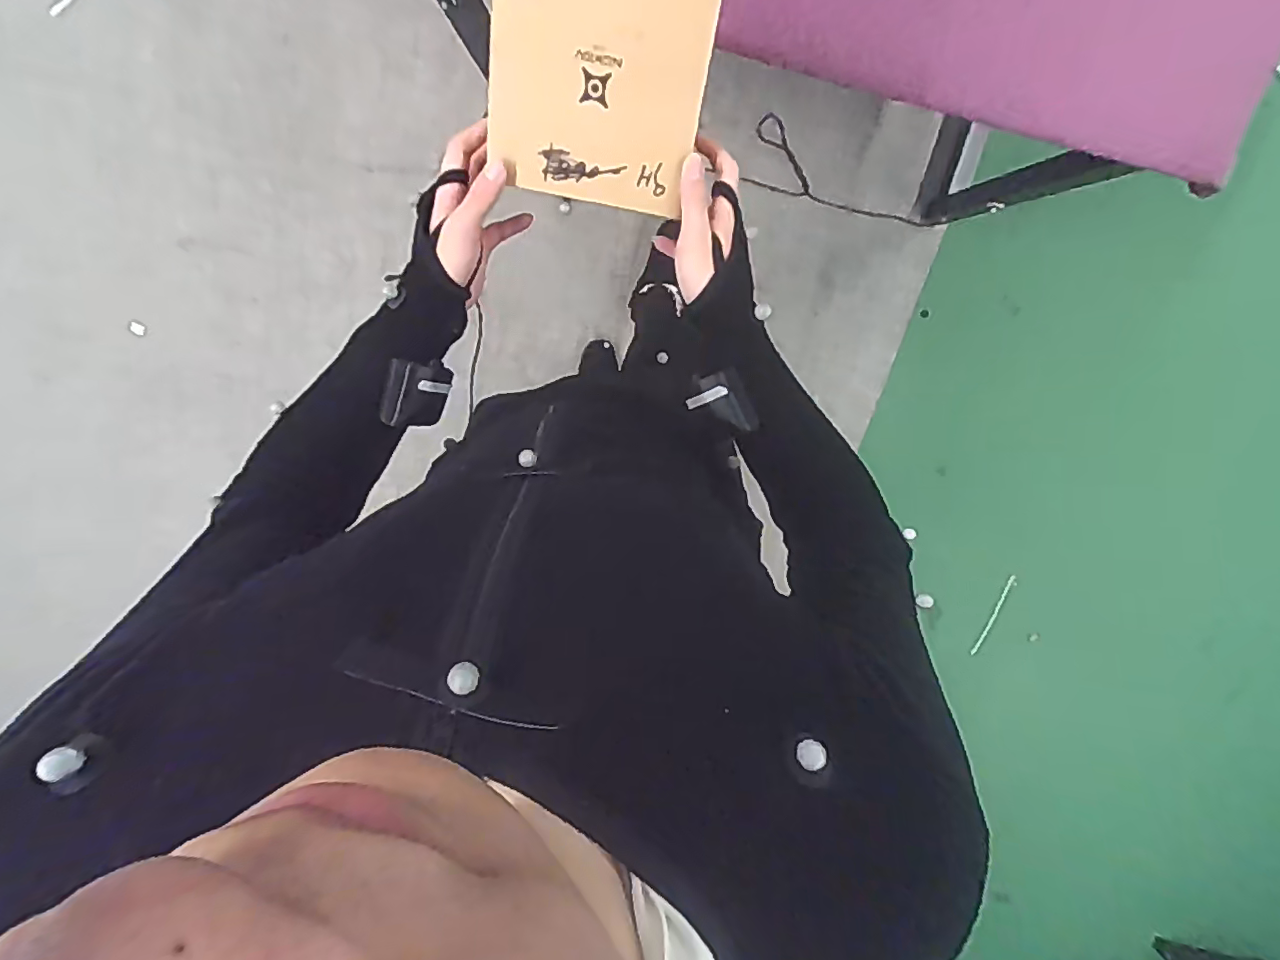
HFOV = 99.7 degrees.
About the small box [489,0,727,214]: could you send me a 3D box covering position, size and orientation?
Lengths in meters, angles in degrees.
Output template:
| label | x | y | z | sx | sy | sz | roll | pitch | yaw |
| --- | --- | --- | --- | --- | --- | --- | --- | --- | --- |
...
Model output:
| label | x | y | z | sx | sy | sz | roll | pitch | yaw |
| --- | --- | --- | --- | --- | --- | --- | --- | --- | --- |
| small box | -0.027 | -0.349 | 0.479 | 0.168 | 0.176 | 0.179 | 10 | 118 | -4 |
